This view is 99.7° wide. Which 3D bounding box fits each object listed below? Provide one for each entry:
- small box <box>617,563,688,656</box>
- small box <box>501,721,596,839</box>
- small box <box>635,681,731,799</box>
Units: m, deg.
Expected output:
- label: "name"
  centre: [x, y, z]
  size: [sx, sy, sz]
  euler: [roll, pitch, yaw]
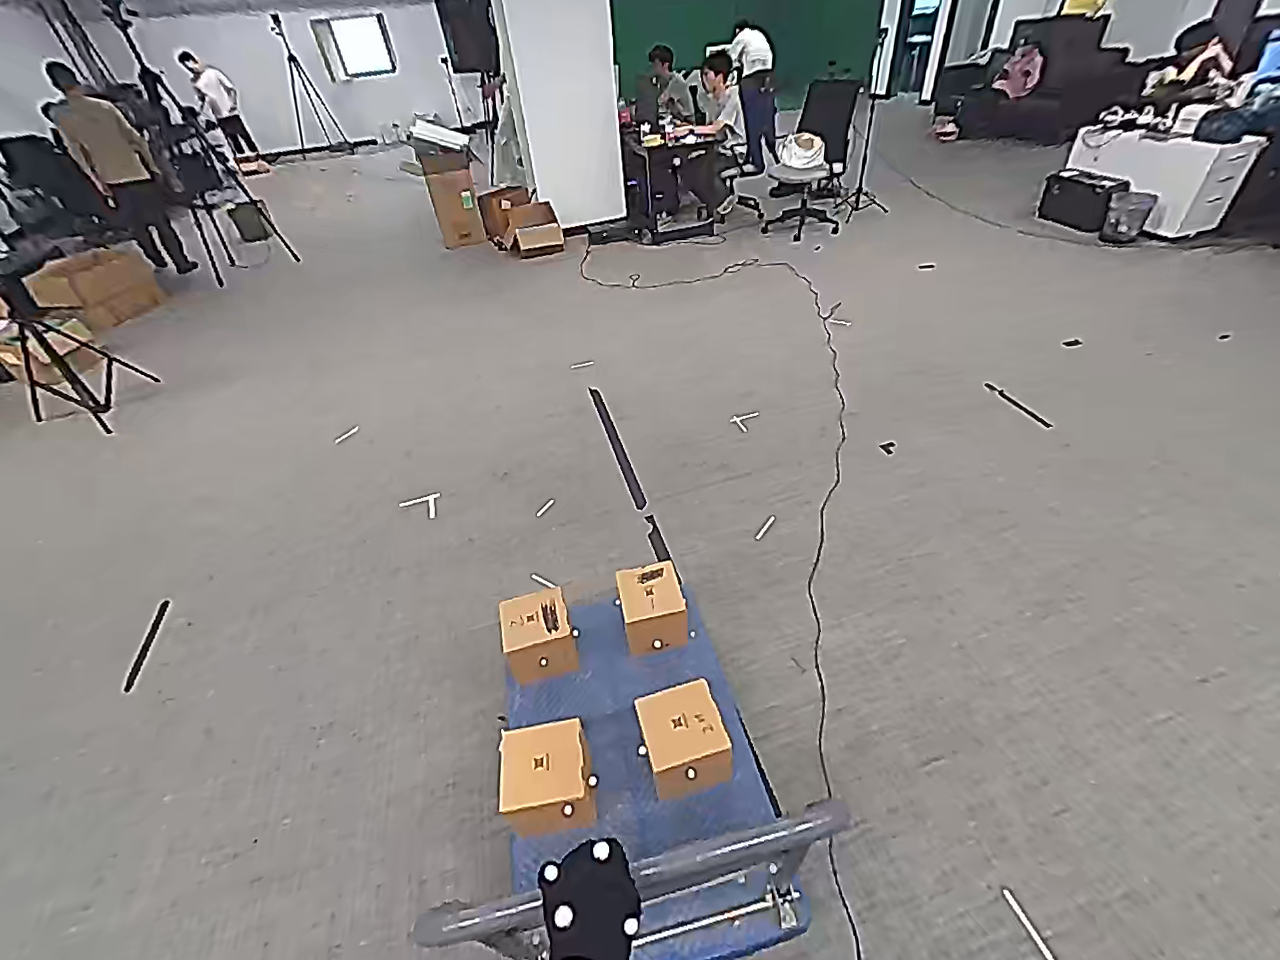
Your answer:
- label: "small box"
  centre: [0.034, 0.363, 1.515]
  size: [0.168, 0.176, 0.179]
  euler: [-11, 42, -5]
- label: "small box"
  centre: [-0.199, 0.666, 1.197]
  size: [0.179, 0.176, 0.168]
  euler: [-9, 40, -5]
- label: "small box"
  centre: [0.100, 0.596, 1.235]
  size: [0.179, 0.176, 0.168]
  euler: [-14, 41, -8]
